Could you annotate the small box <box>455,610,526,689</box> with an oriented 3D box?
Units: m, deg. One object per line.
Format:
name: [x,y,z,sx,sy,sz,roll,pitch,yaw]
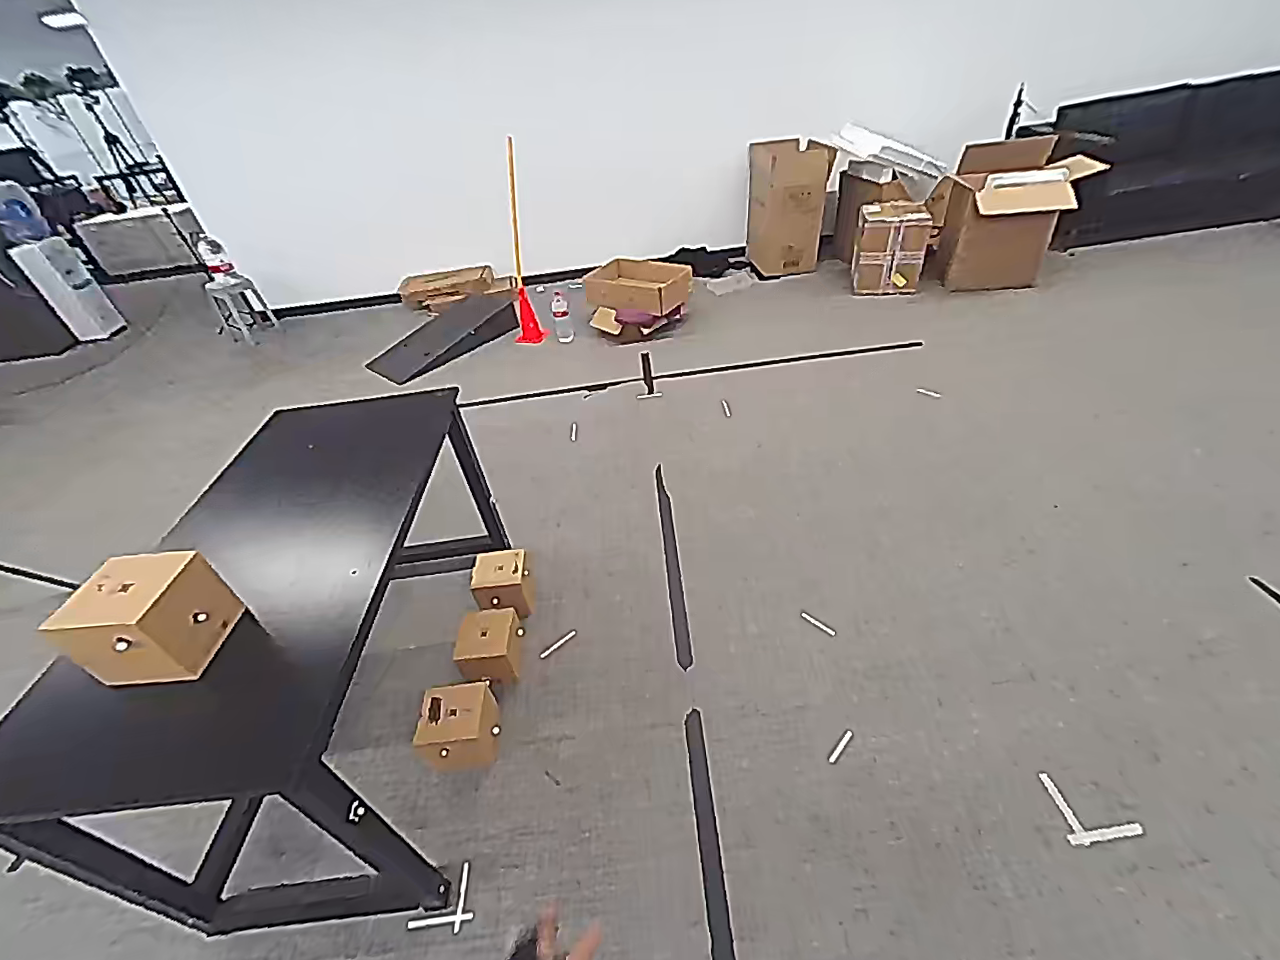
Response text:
small box: [-0.470,0.546,1.733,0.168,0.176,0.179,-9,39,1]

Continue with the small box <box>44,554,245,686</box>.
small box: [-0.886,0.258,0.994,0.179,0.176,0.168,-6,38,4]

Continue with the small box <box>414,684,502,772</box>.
small box: [-0.508,0.708,1.536,0.179,0.176,0.168,-7,39,0]

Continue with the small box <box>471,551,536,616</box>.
small box: [-0.483,0.380,1.937,0.179,0.176,0.168,-8,39,1]
